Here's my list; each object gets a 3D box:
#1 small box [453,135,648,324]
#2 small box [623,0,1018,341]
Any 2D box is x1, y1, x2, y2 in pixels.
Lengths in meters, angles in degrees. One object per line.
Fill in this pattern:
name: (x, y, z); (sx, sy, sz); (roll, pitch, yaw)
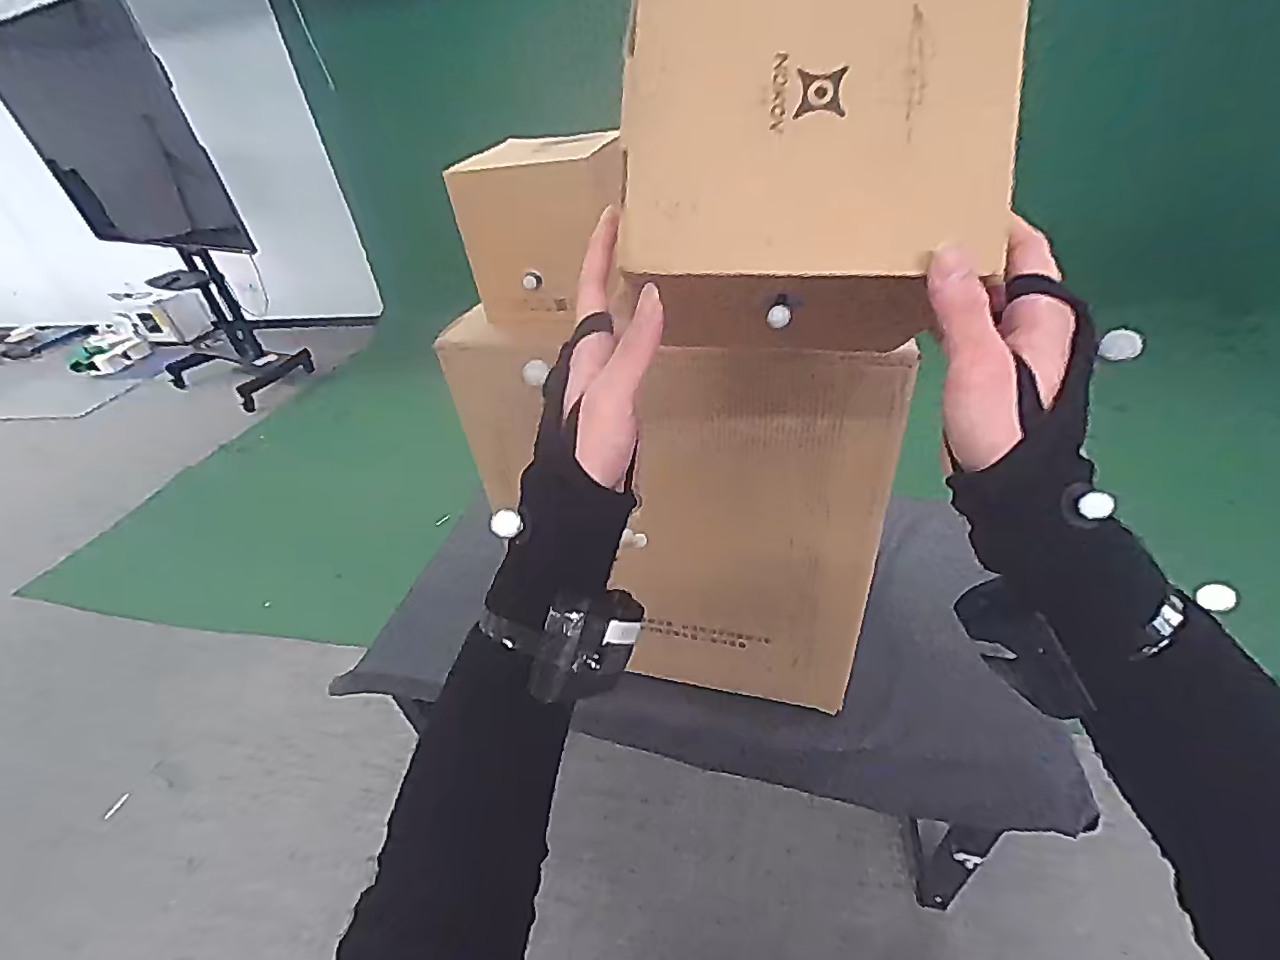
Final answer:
small box: (-0.092, -0.305, 0.662); (0.168, 0.176, 0.179); (4, 41, 16)
small box: (0.094, -0.187, 0.335); (0.179, 0.168, 0.176); (4, 2, 9)
